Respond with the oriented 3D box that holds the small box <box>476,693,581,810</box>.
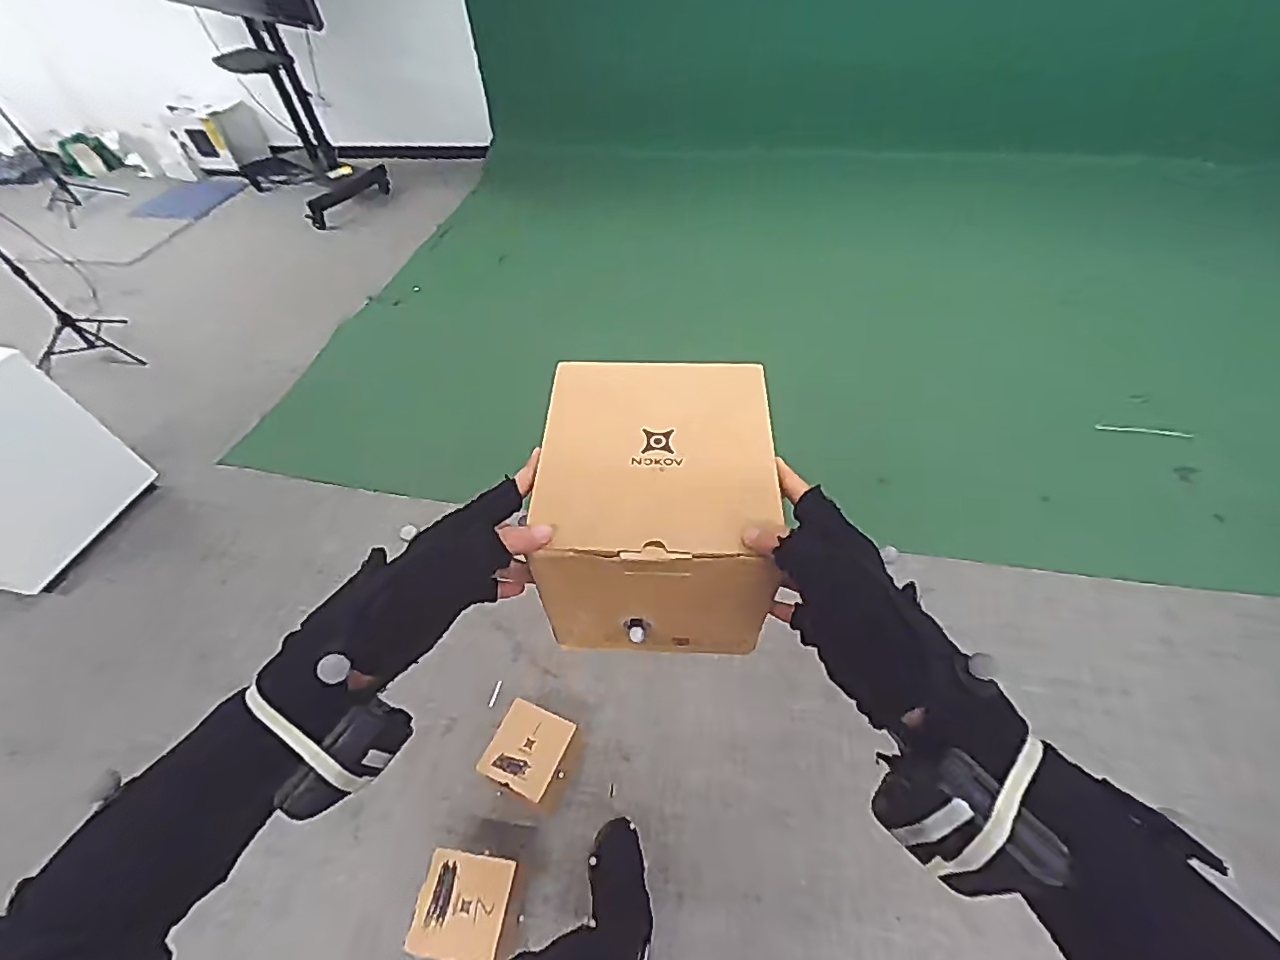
[{"bbox_3d":[-0.252,0.645,1.277,0.168,0.176,0.179,18,52,17],"label":"small box"}]
